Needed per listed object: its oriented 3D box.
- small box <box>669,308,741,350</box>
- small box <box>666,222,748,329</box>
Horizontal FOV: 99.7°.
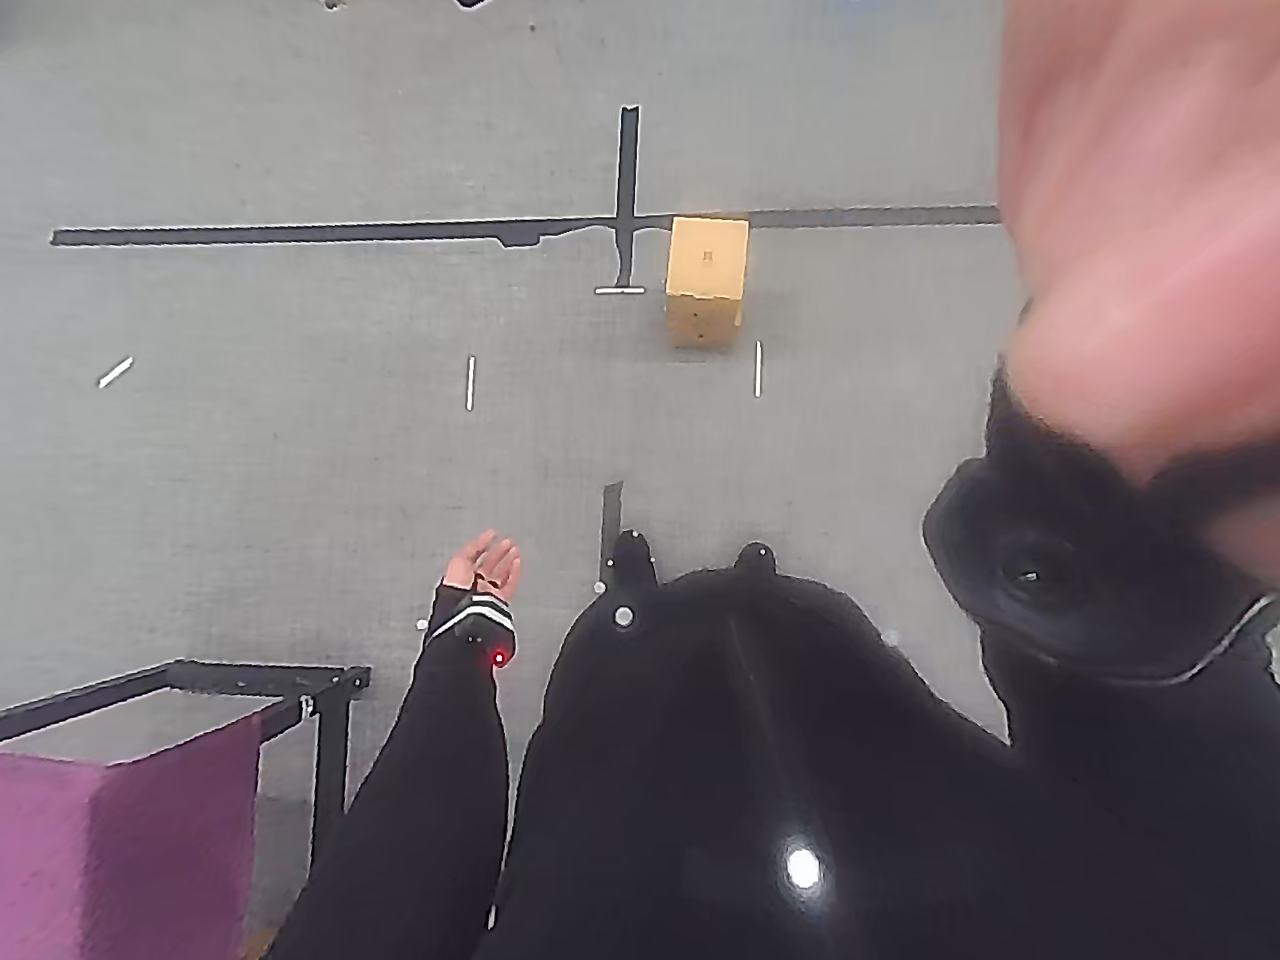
[{"bbox_3d":[0.165,-0.443,1.407,0.179,0.176,0.168,0,87,5],"label":"small box"},{"bbox_3d":[0.149,-0.464,1.246,0.168,0.176,0.179,5,88,4],"label":"small box"}]
